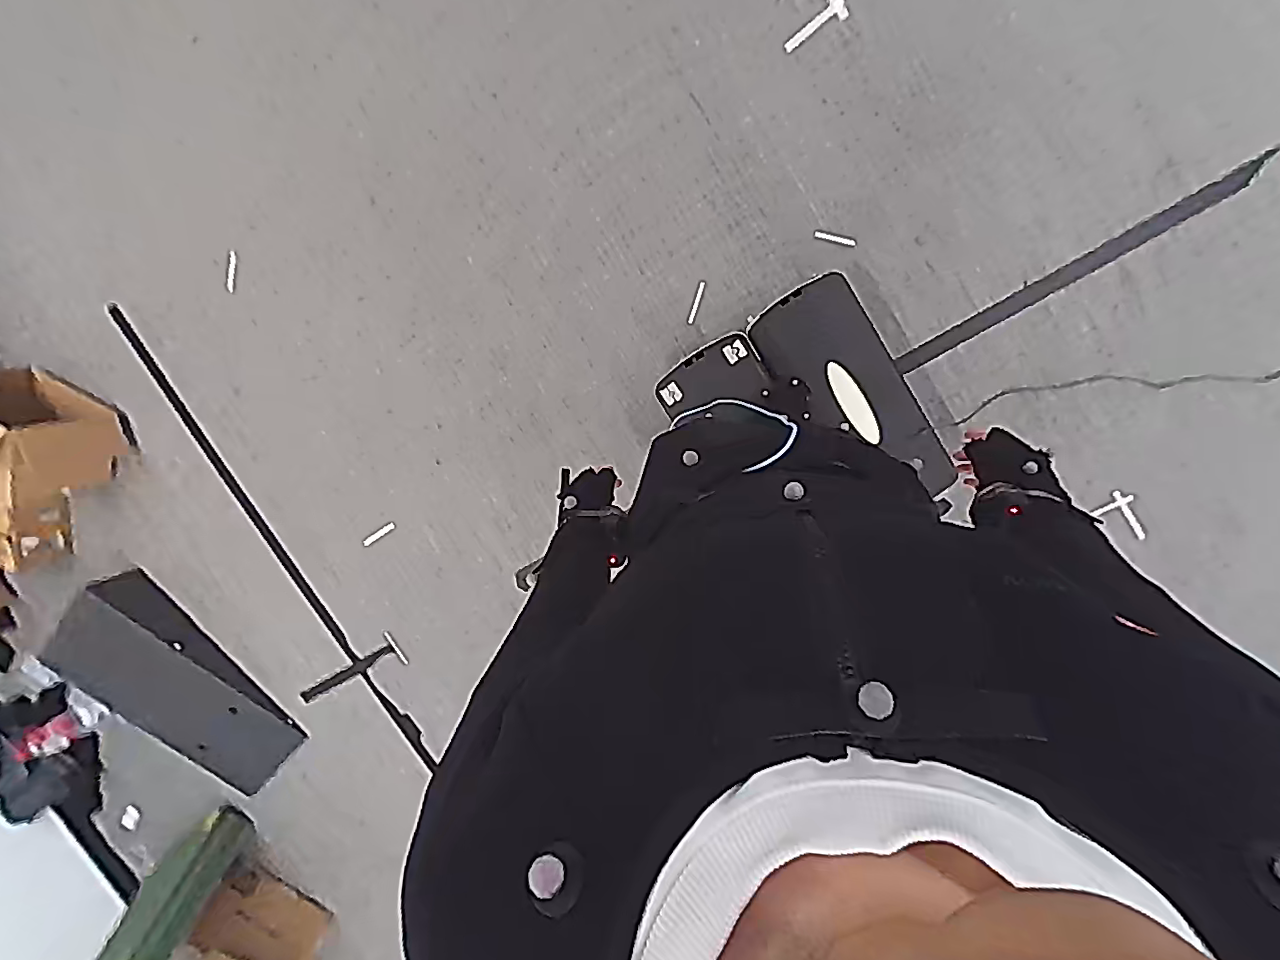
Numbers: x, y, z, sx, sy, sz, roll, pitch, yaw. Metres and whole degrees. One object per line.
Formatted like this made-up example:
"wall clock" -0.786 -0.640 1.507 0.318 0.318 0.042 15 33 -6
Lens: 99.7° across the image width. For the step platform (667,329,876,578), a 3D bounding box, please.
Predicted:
"step platform" 0.360 -0.070 1.503 0.286 0.204 0.684 -32 93 16
